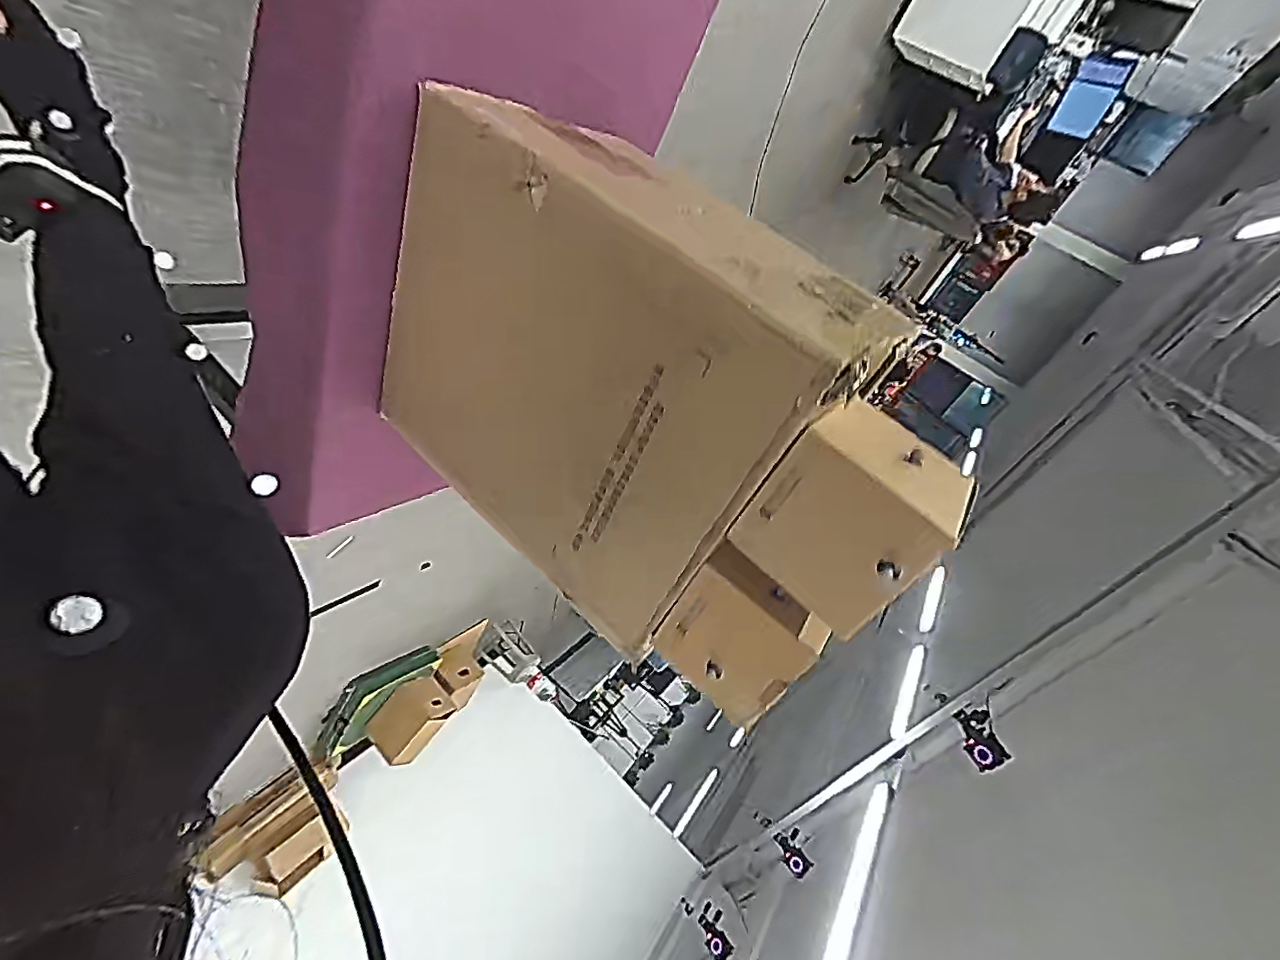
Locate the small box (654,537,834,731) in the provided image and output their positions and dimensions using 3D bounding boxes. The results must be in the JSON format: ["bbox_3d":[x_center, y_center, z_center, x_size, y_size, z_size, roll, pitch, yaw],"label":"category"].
[{"bbox_3d":[0.147,0.185,0.730,0.179,0.176,0.168,-27,153,-55],"label":"small box"}]

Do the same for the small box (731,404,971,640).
[{"bbox_3d":[0.234,0.035,0.608,0.179,0.176,0.168,-30,155,-51],"label":"small box"}]
